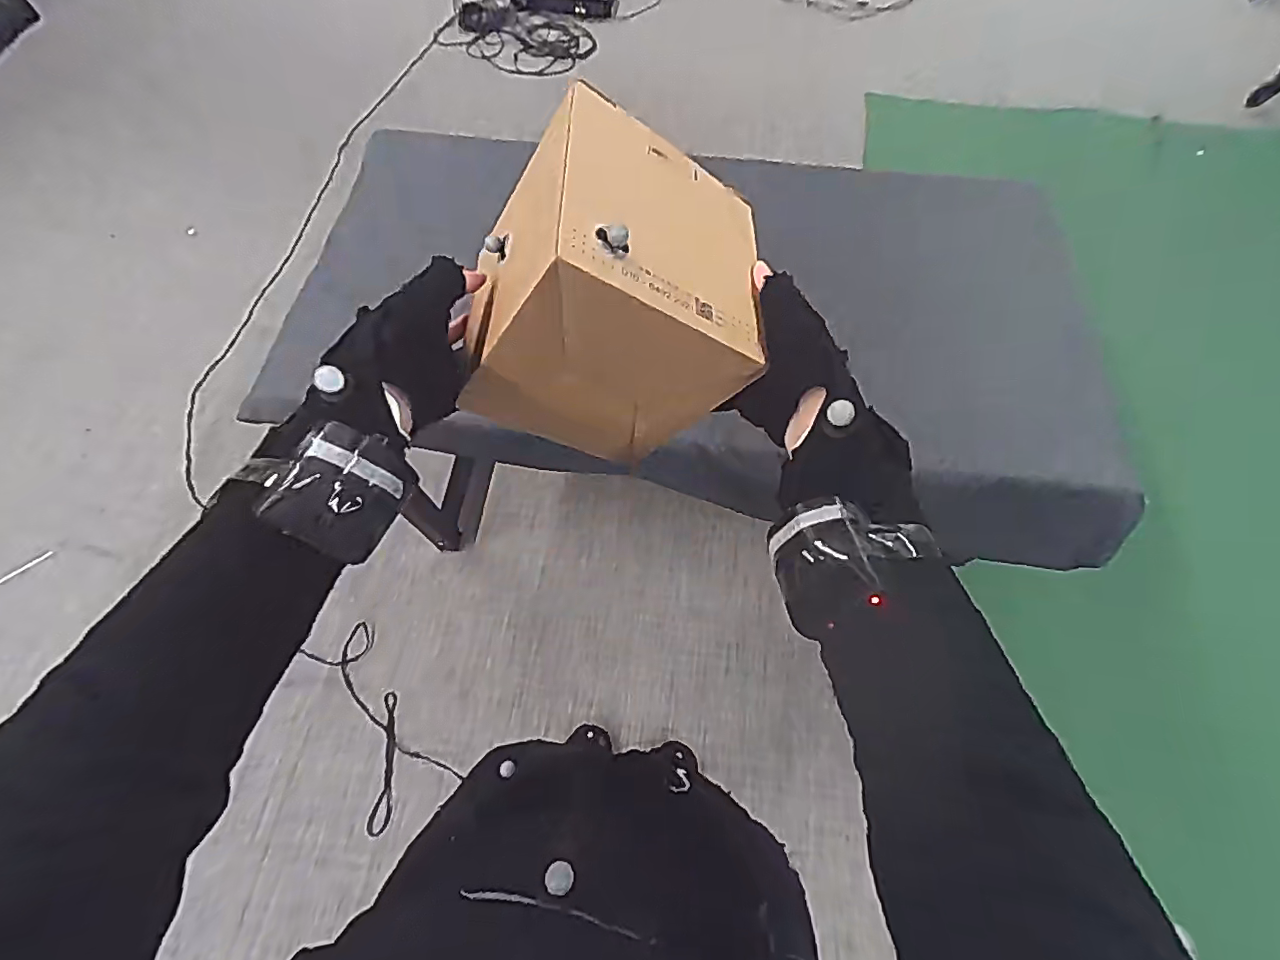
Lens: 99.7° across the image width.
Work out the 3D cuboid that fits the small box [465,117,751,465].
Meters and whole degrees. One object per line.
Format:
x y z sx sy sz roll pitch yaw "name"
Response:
-0.028 -0.132 0.444 0.168 0.179 0.176 18 57 -31 "small box"
